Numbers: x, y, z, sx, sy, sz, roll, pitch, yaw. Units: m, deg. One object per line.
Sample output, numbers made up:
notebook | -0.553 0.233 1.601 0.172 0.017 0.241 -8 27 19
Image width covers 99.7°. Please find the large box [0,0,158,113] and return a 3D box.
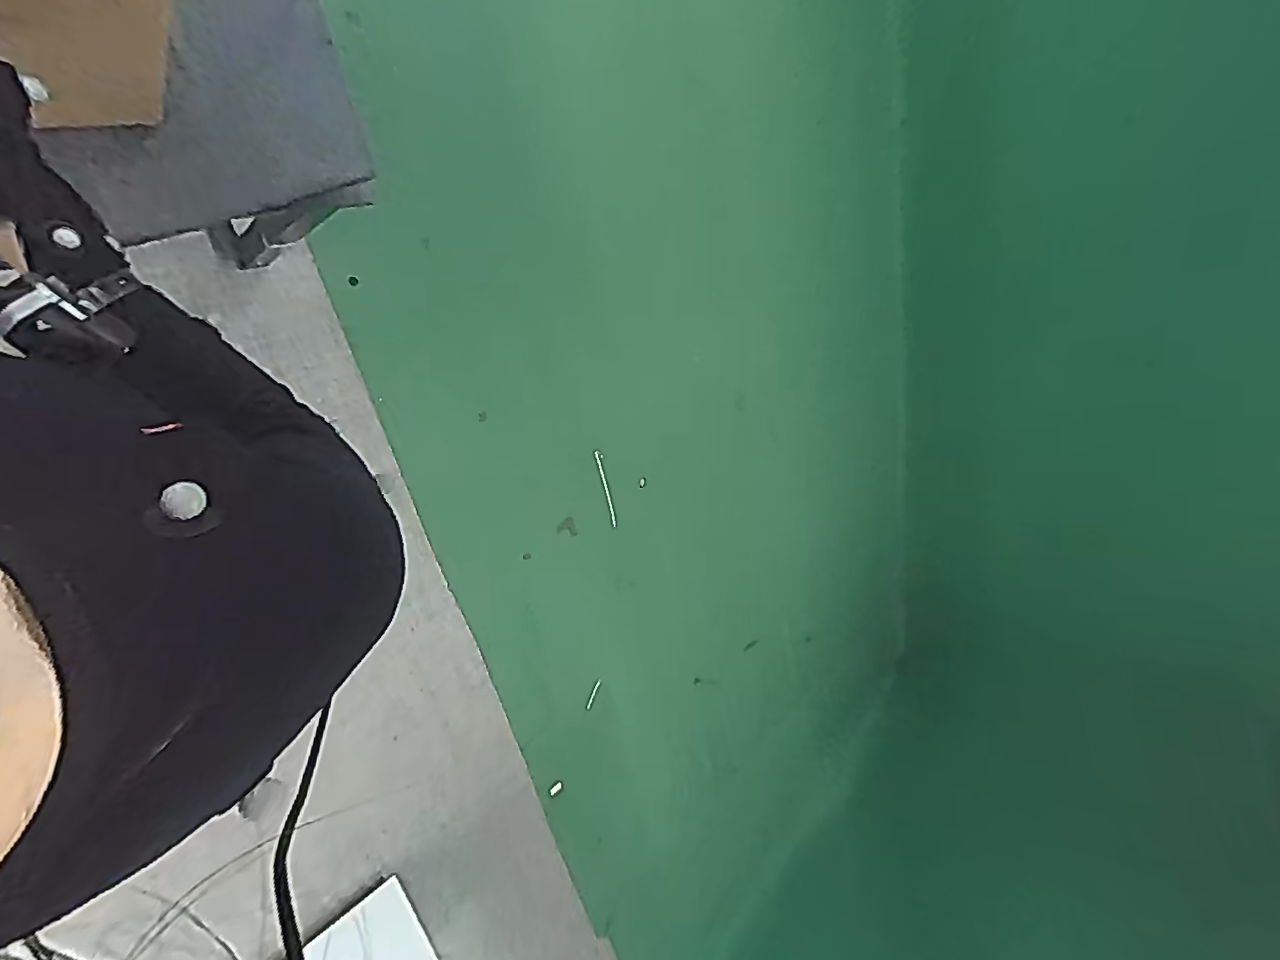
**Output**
large box | -0.555 -0.473 0.293 0.320 0.320 0.408 -31 117 -35
